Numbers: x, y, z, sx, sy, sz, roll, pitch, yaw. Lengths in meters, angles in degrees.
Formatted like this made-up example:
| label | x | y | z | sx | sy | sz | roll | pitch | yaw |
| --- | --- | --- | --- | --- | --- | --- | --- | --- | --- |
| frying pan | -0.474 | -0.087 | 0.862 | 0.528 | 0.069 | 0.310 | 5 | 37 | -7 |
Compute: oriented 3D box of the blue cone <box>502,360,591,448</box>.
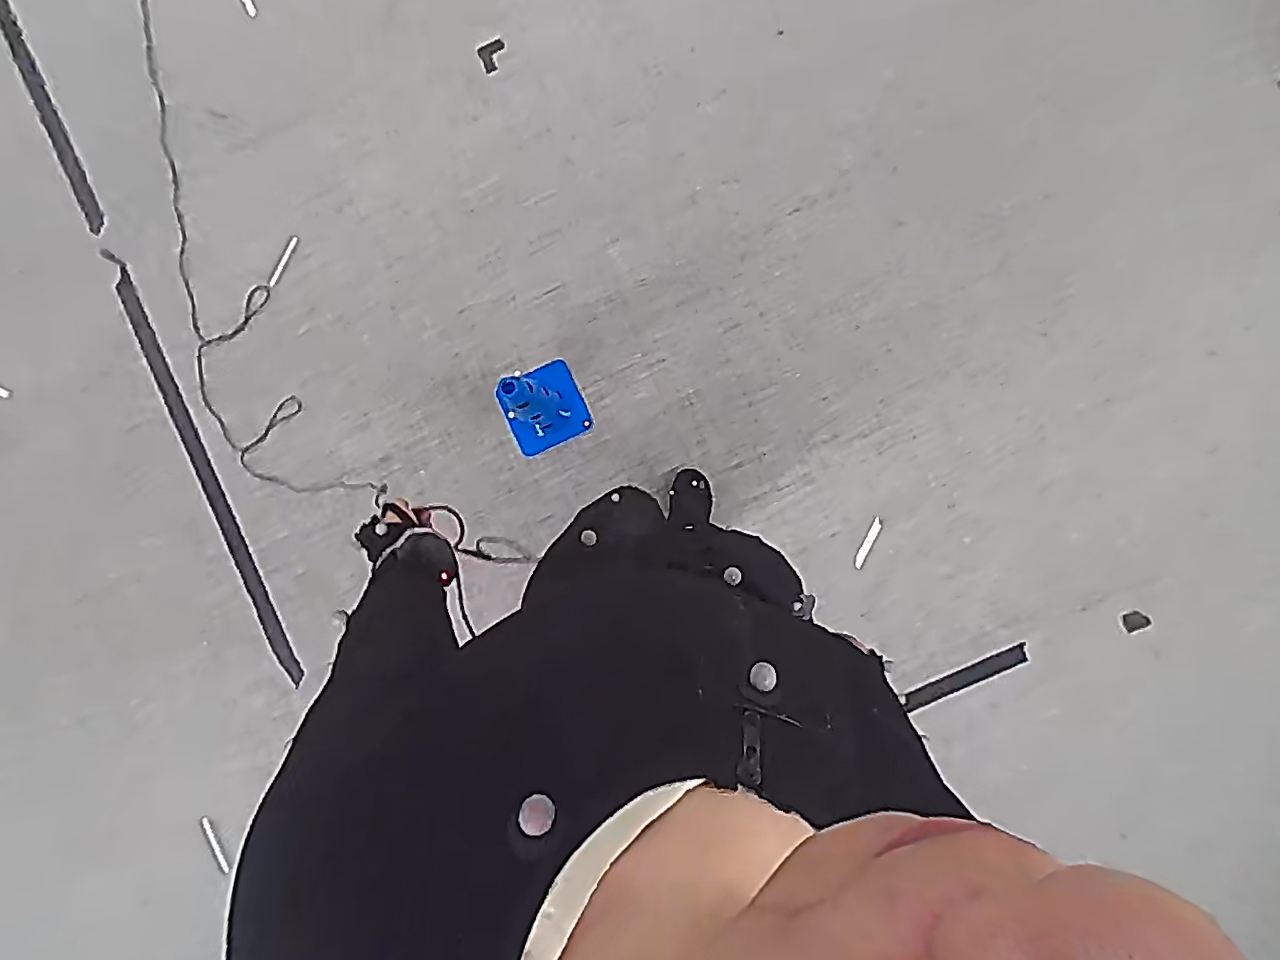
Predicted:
| label | x | y | z | sx | sy | sz | roll | pitch | yaw |
| --- | --- | --- | --- | --- | --- | --- | --- | --- | --- |
| blue cone | -0.243 | -0.189 | 1.209 | 0.192 | 0.380 | 0.193 | -23 | 90 | 1 |
